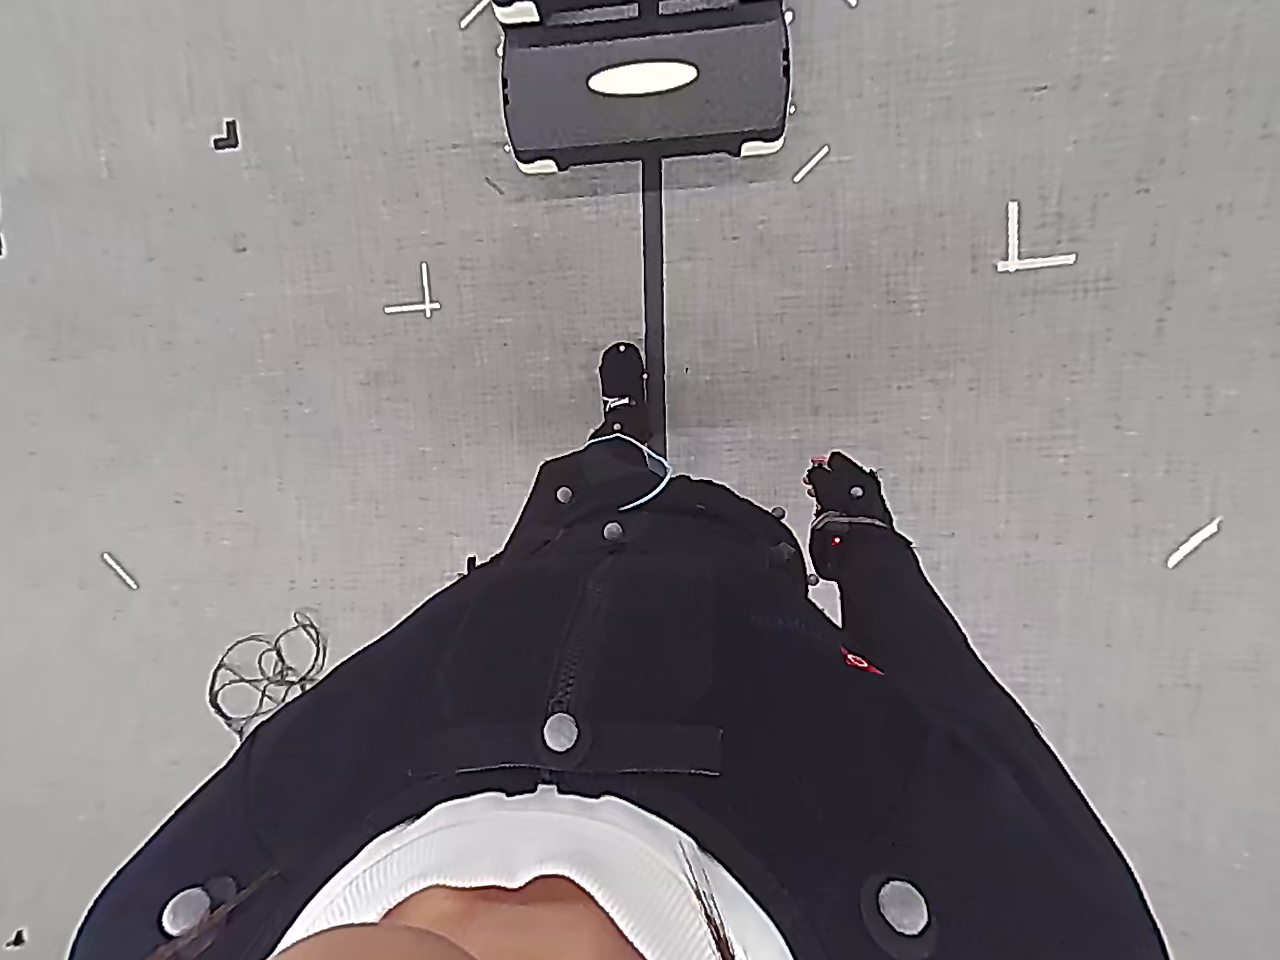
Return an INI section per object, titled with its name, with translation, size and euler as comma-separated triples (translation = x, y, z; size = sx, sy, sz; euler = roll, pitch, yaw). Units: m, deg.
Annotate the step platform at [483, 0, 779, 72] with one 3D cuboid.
[step platform]
translation = -0.023, -1.166, 1.222
size = 0.684, 0.204, 0.286
euler = -3, 96, 5
